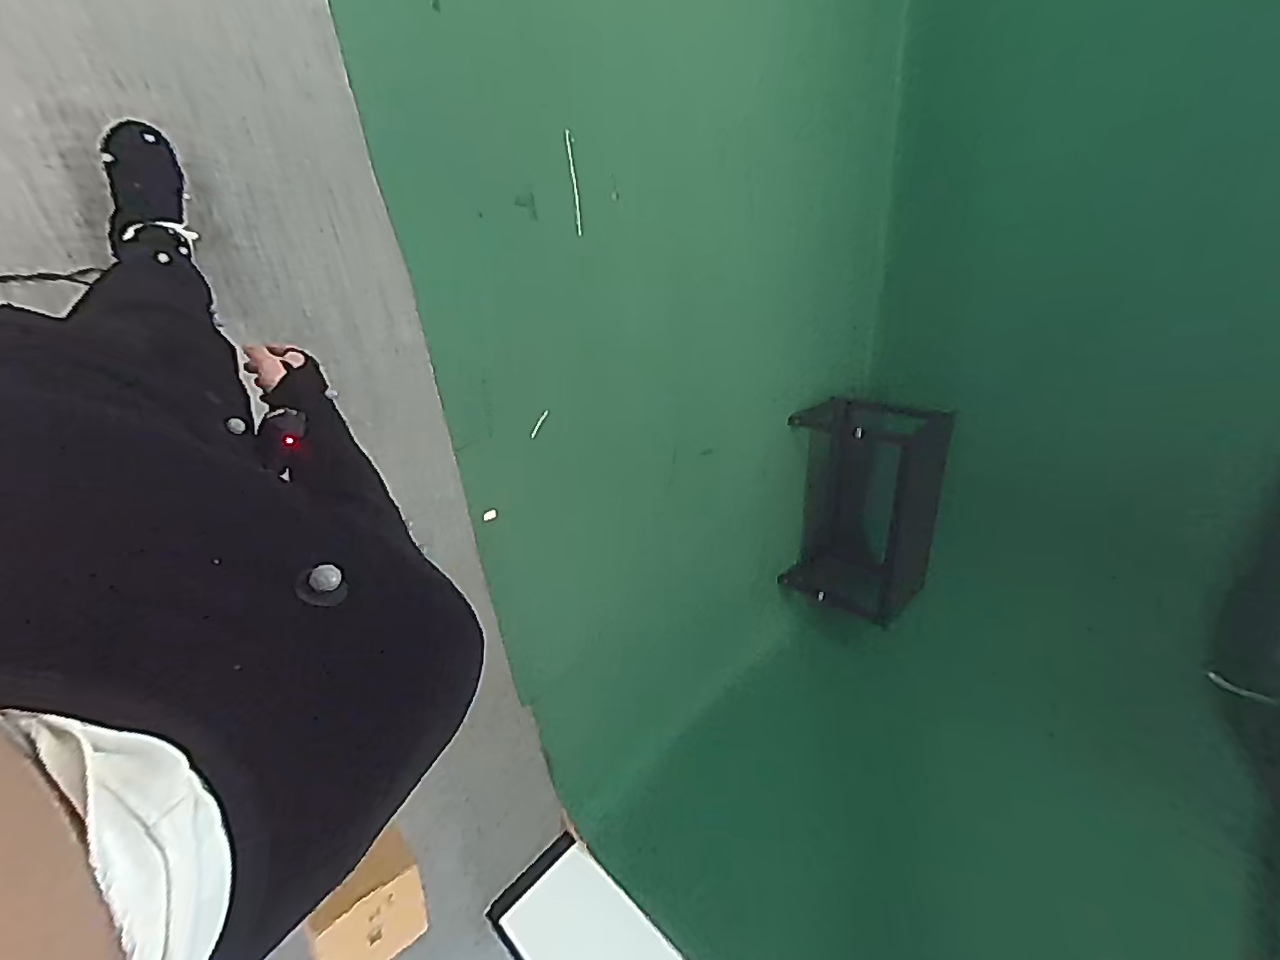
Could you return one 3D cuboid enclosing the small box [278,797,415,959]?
[{"bbox_3d":[-0.534,0.735,0.989,0.168,0.176,0.179,-18,118,-43],"label":"small box"}]
